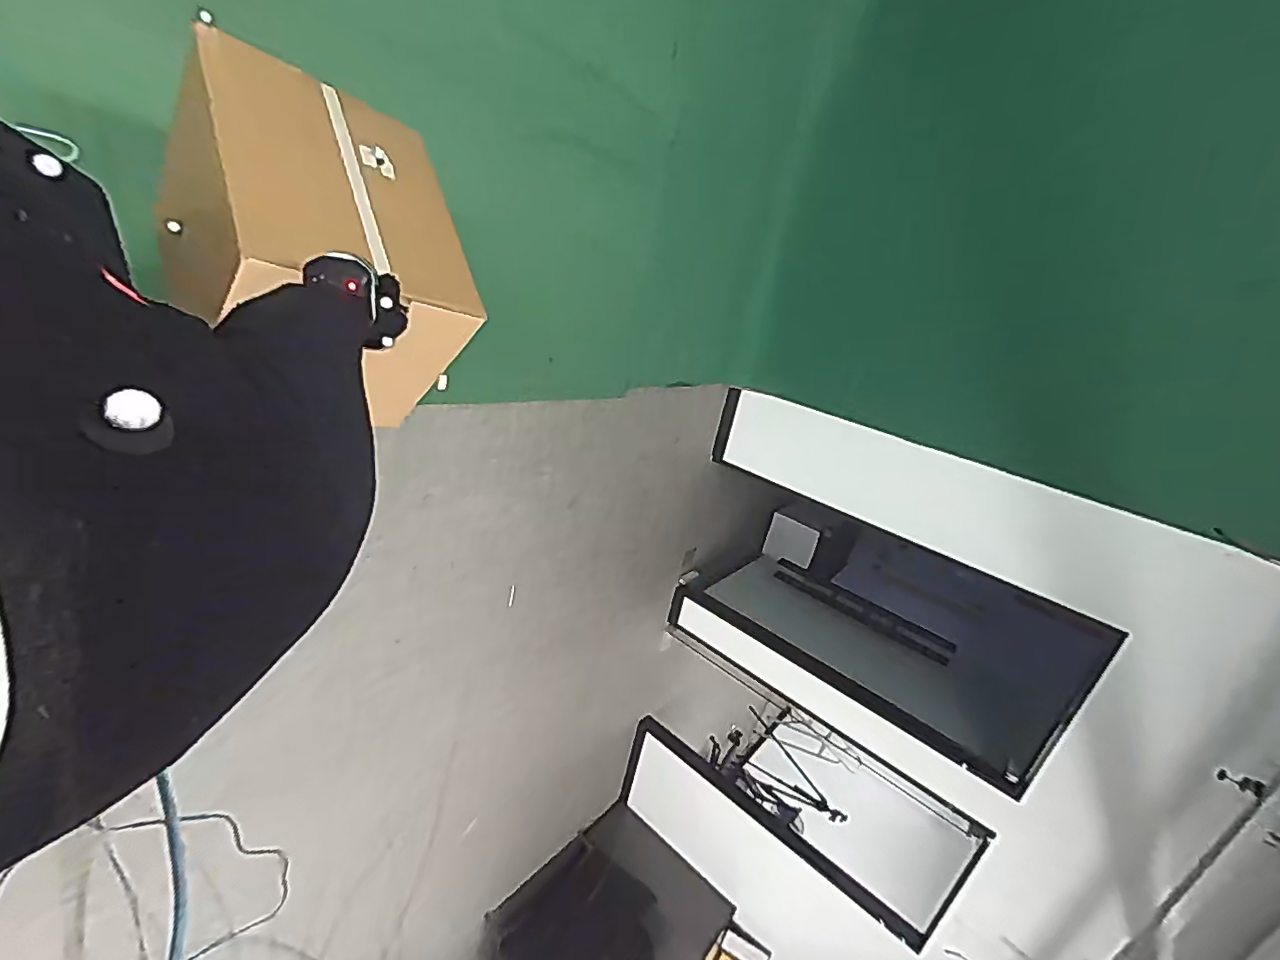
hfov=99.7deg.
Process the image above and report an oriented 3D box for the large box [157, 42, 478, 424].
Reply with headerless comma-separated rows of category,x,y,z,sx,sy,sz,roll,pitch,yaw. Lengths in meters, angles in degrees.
large box,-0.520,-0.339,0.858,0.320,0.408,0.320,-36,159,33
